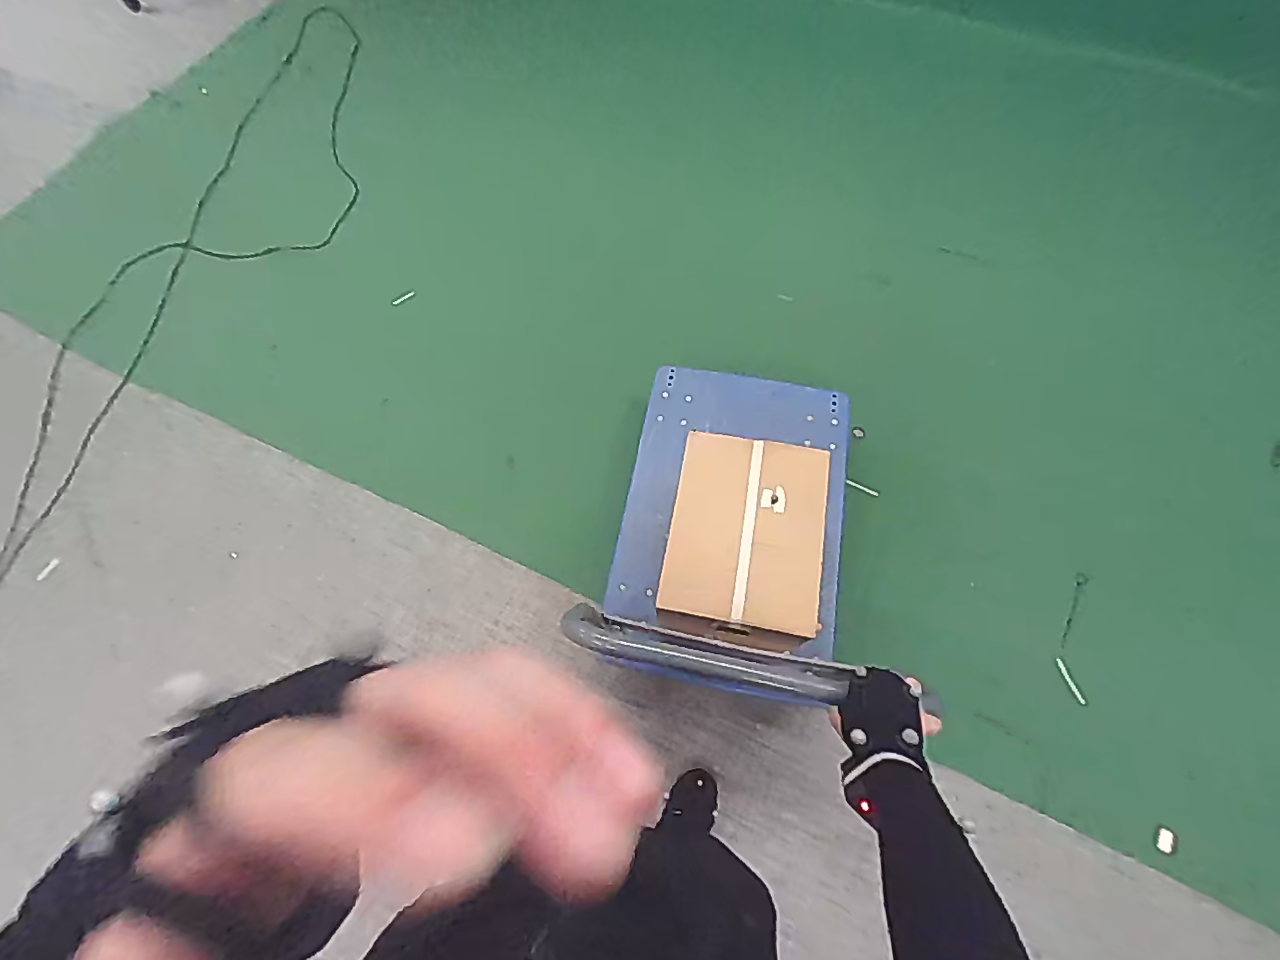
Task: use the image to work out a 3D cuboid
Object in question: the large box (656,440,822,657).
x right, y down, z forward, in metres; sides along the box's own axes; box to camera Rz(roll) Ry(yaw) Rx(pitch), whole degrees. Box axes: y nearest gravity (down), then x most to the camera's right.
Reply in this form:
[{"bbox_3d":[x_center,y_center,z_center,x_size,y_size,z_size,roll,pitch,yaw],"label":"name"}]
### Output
[{"bbox_3d":[0.224,0.171,1.265,0.320,0.320,0.408,10,67,7],"label":"large box"}]
